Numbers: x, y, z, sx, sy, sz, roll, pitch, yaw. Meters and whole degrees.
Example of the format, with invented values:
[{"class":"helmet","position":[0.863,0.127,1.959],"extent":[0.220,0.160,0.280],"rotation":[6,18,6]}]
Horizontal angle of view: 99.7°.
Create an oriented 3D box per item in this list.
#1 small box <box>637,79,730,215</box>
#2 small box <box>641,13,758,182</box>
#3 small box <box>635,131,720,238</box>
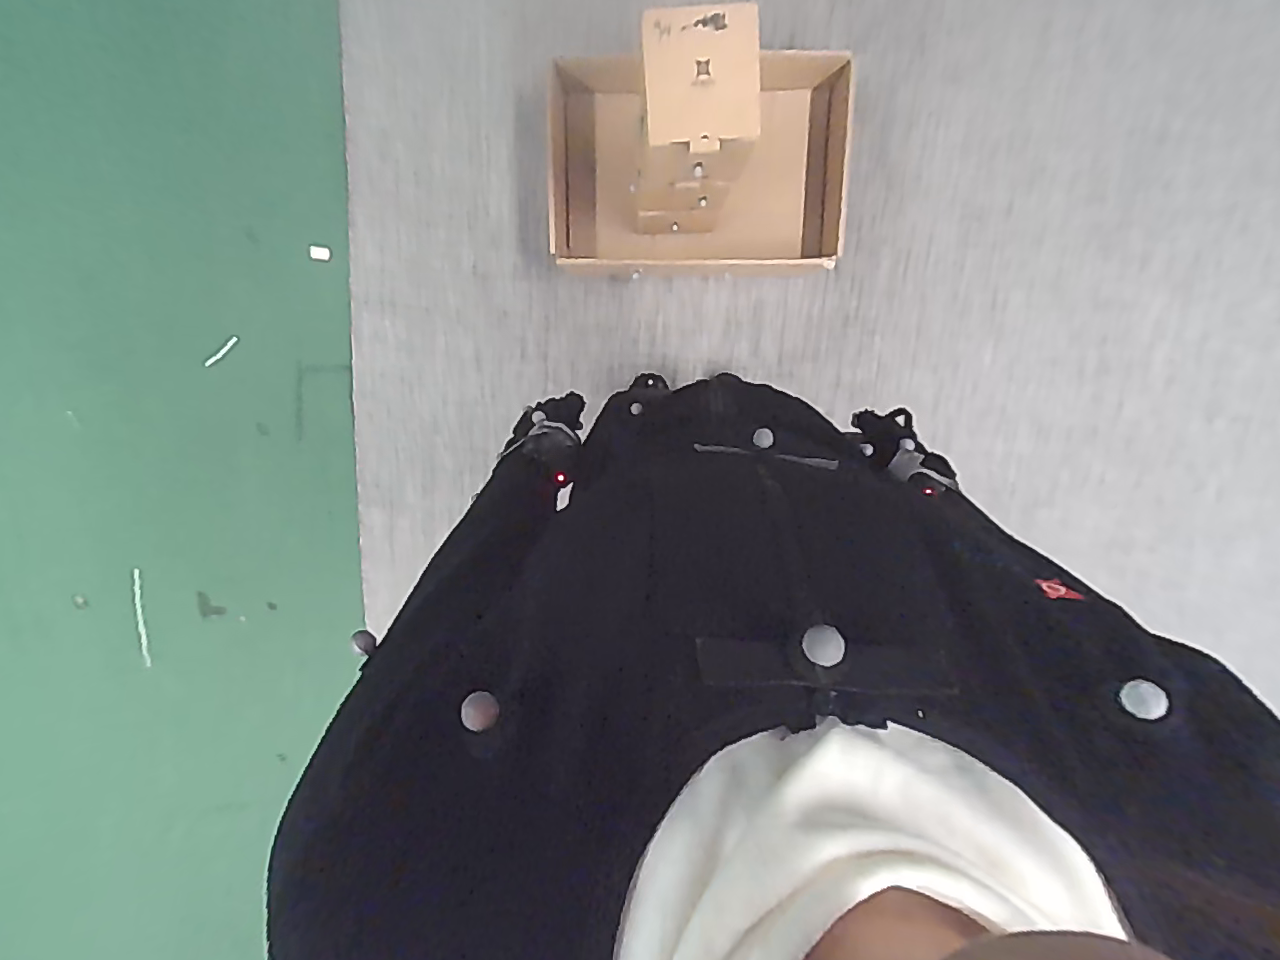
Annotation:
[{"class":"small box","position":[0.080,-0.612,1.015],"extent":[0.168,0.176,0.179],"rotation":[0,100,-1]},{"class":"small box","position":[0.087,-0.585,0.853],"extent":[0.168,0.176,0.179],"rotation":[-2,102,0]},{"class":"small box","position":[0.079,-0.635,1.174],"extent":[0.179,0.176,0.168],"rotation":[0,101,2]}]
